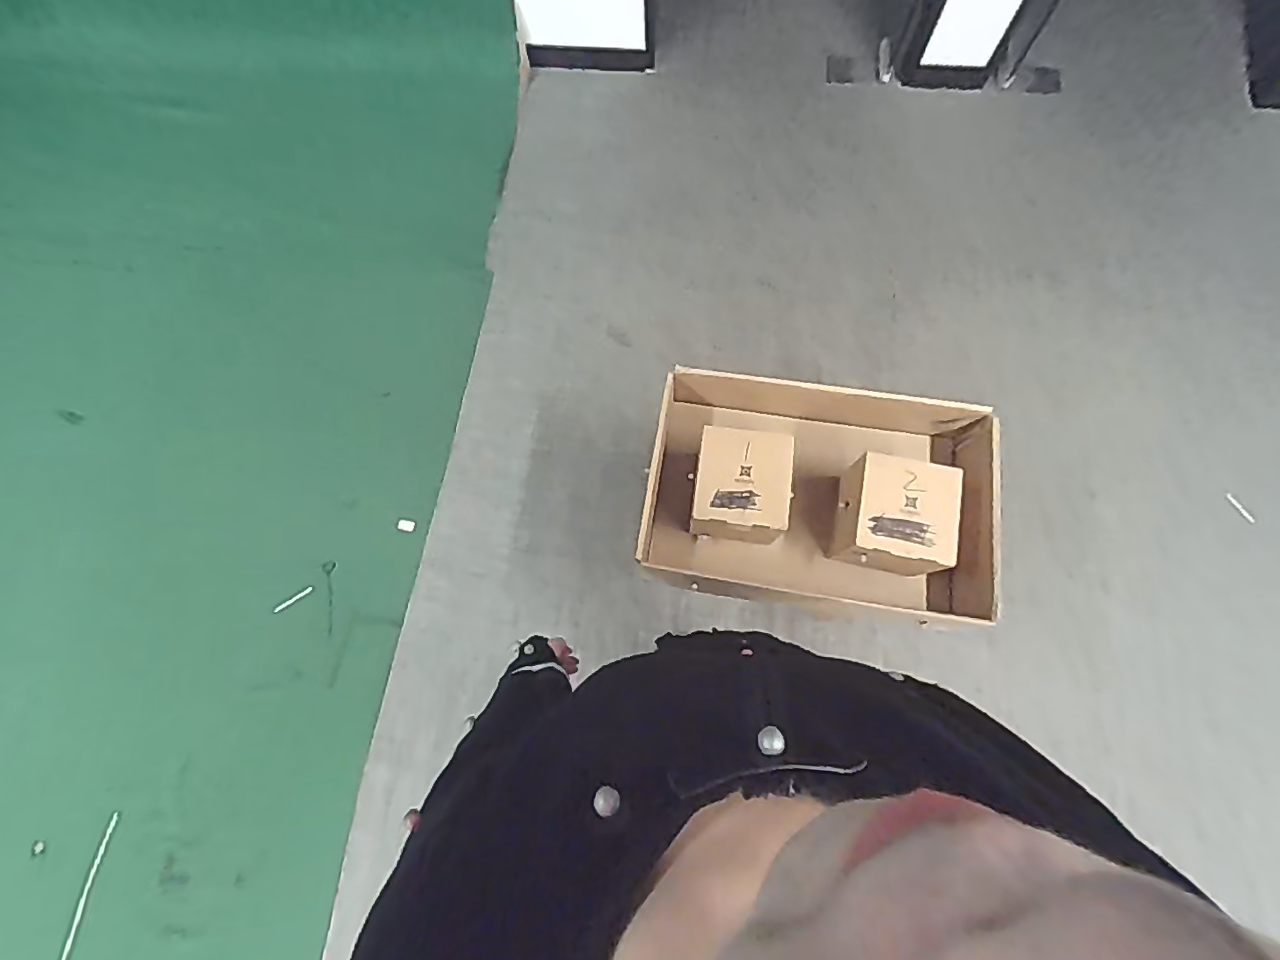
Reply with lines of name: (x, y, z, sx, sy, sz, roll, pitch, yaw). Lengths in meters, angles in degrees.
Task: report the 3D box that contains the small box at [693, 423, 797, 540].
small box: (0.192, 0.011, 1.024, 0.168, 0.176, 0.179, 8, 75, 6)
